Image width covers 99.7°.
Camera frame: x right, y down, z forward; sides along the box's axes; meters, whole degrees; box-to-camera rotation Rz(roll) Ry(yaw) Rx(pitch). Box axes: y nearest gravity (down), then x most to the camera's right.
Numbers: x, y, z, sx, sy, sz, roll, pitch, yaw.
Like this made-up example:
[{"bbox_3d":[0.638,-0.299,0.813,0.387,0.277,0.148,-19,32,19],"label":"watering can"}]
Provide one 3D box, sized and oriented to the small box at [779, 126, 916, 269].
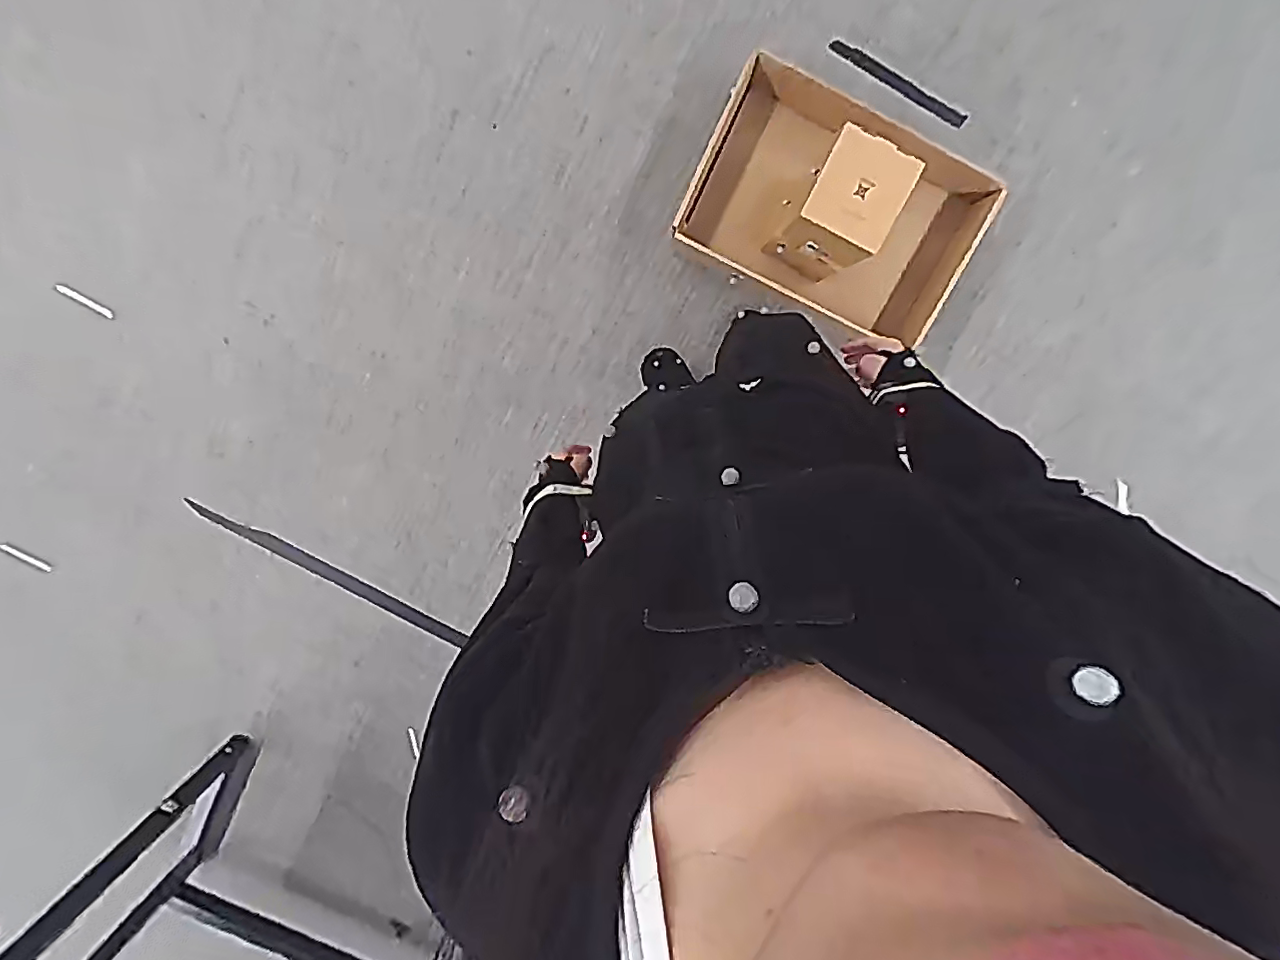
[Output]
[{"bbox_3d":[0.397,-0.547,1.074,0.168,0.176,0.179,25,102,-4],"label":"small box"}]
